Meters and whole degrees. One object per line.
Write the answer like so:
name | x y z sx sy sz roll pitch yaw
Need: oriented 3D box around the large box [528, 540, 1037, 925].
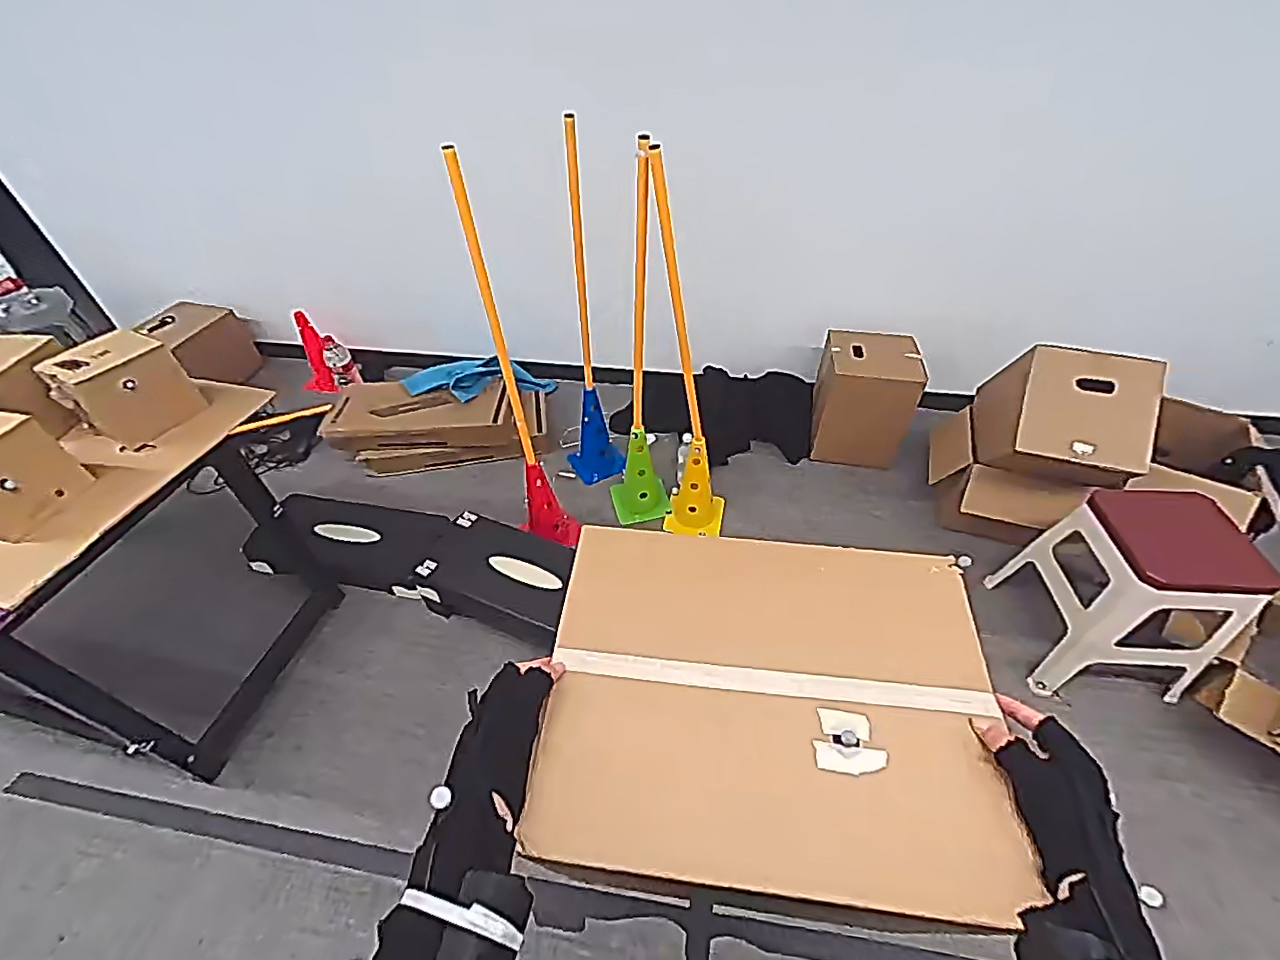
large box | 0.123 0.294 0.630 0.408 0.320 0.320 5 52 6
